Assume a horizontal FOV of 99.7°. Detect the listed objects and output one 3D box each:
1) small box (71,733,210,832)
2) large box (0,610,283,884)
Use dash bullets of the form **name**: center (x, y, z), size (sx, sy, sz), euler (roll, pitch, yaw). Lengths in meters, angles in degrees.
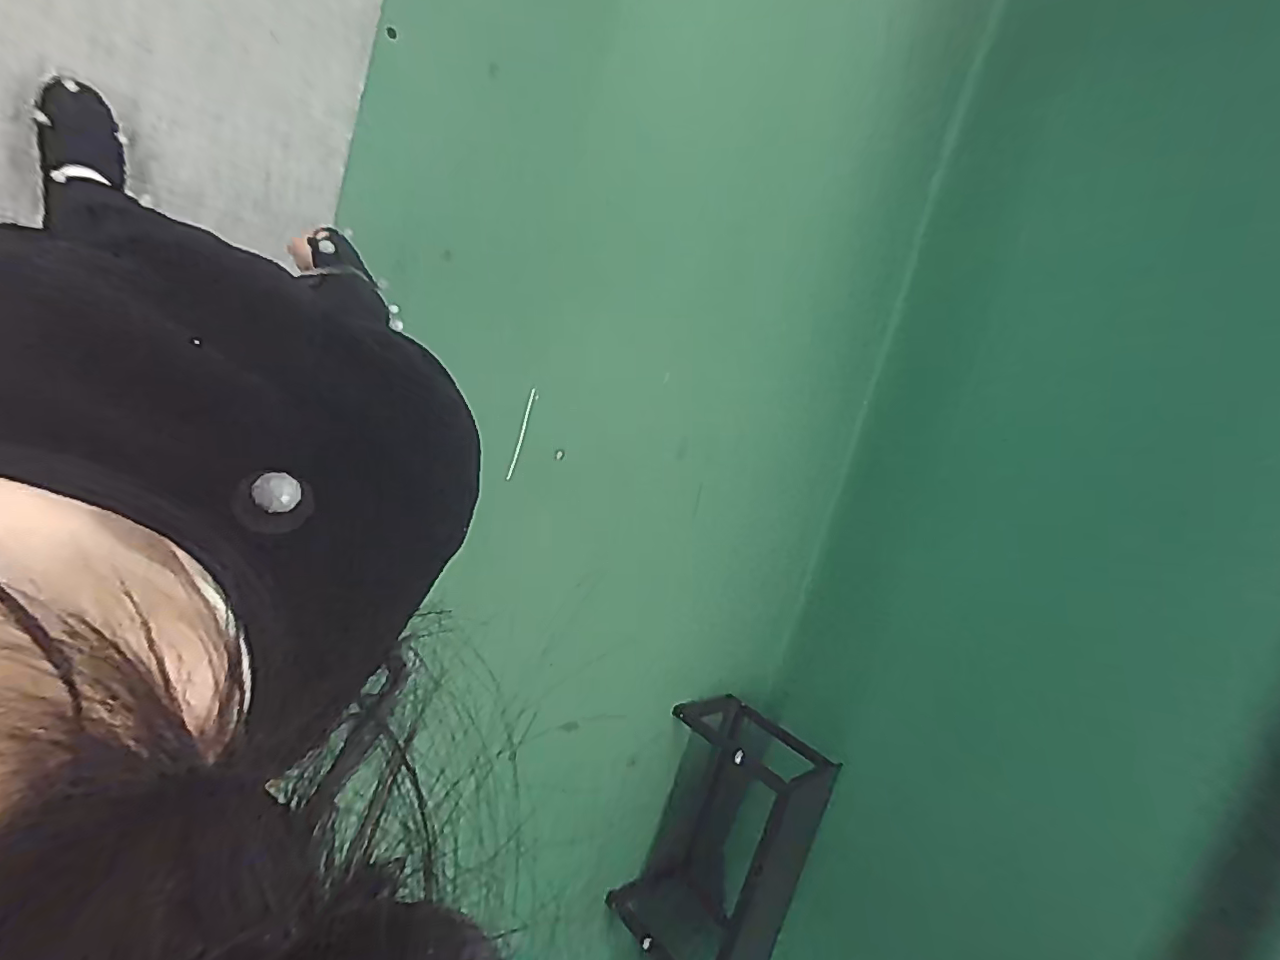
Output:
- **small box**: center (-0.916, 0.603, 0.995), size (0.179, 0.176, 0.168), euler (-4, 107, -44)
- **large box**: center (-1.064, 0.533, 1.180), size (0.408, 0.320, 0.320), euler (-10, 114, -44)
